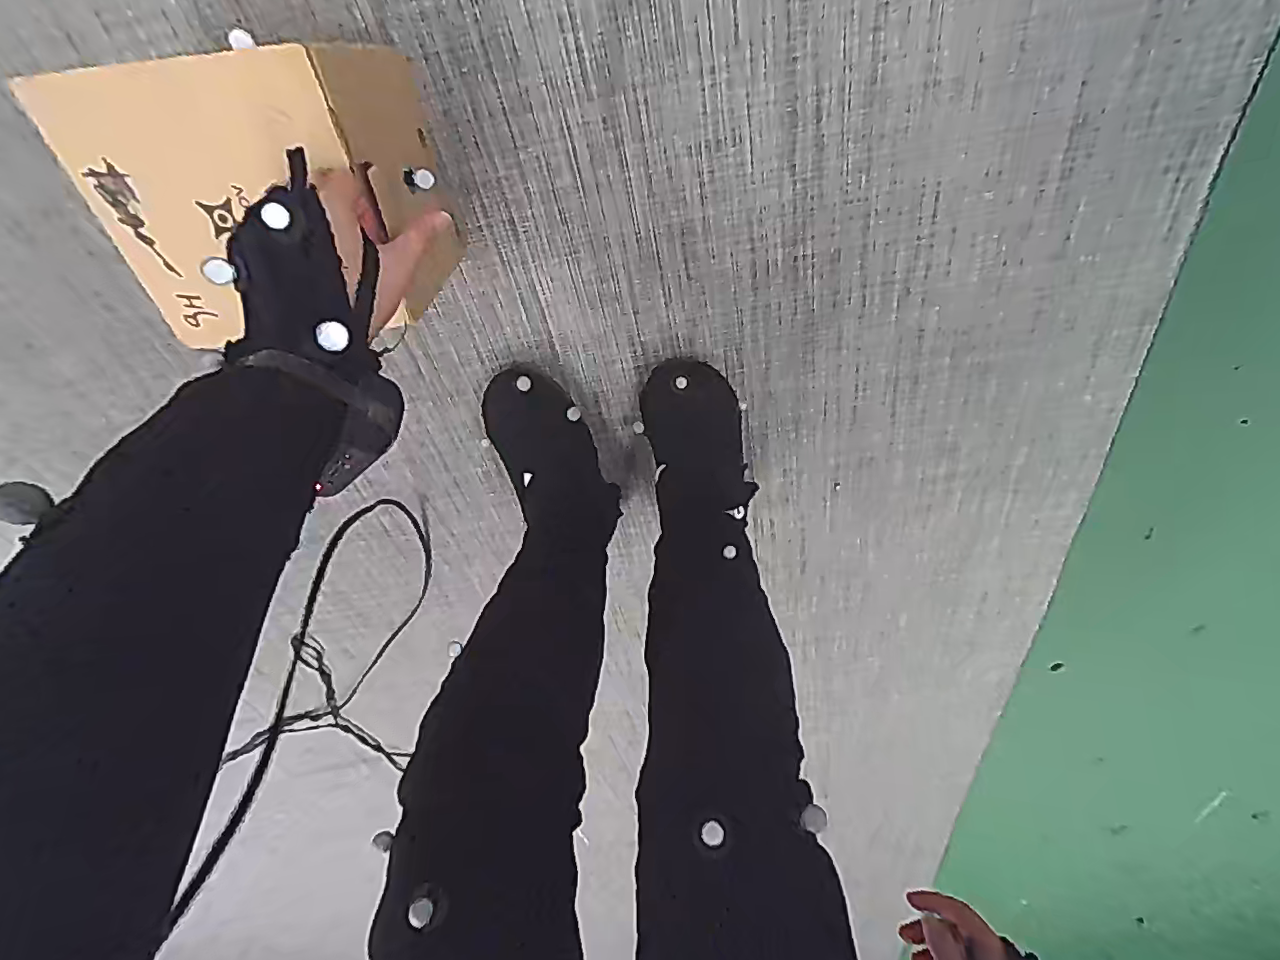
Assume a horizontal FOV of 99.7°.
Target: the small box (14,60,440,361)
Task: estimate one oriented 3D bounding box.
[{"bbox_3d":[-0.269,-0.211,0.417,0.179,0.176,0.168,-6,129,0],"label":"small box"}]
